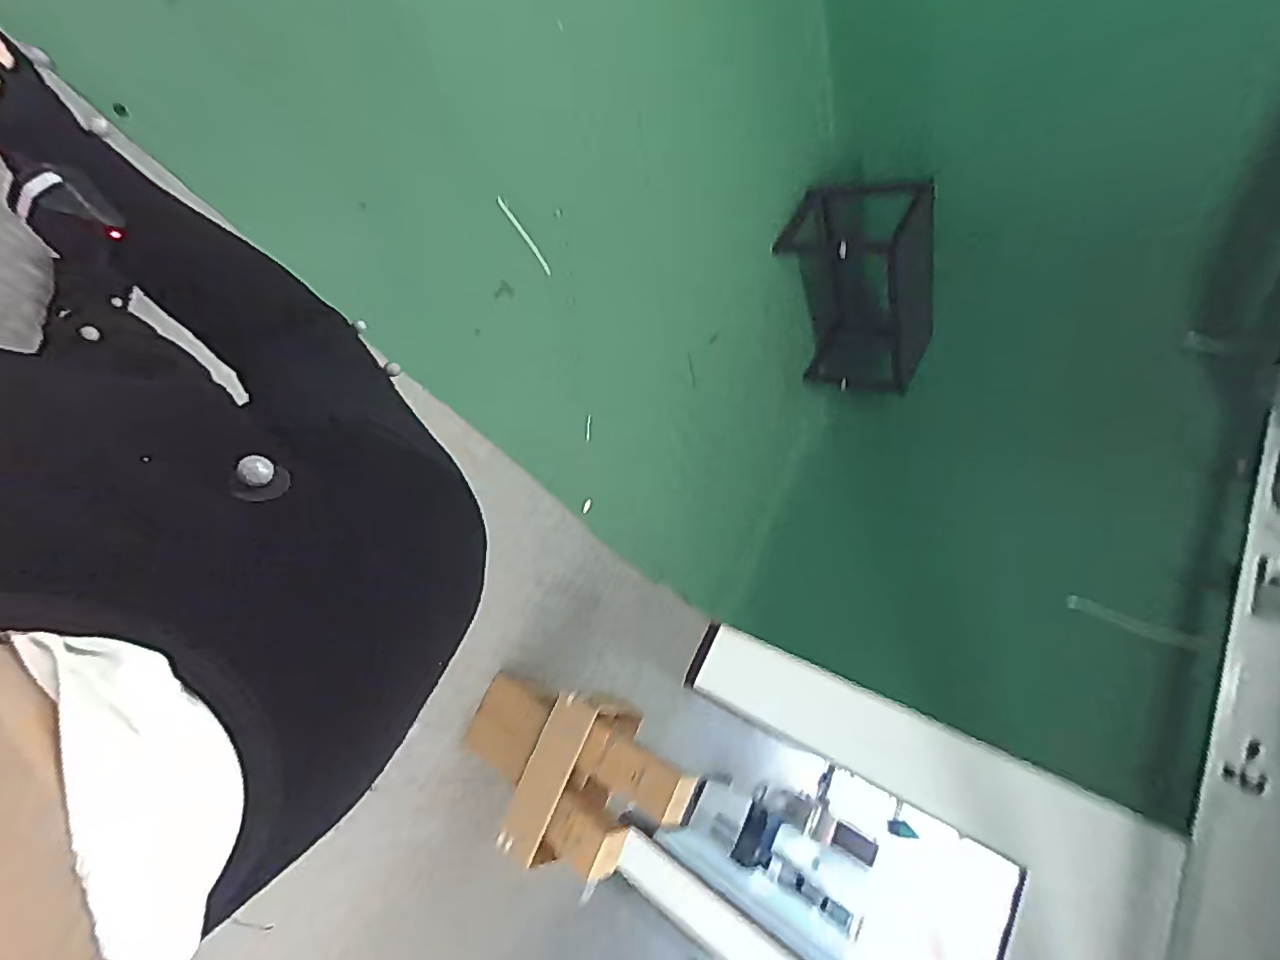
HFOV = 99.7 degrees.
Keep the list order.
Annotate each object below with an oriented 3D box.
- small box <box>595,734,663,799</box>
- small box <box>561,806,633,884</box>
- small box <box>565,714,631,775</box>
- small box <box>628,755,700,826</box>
[{"bbox_3d":[-0.043,1.101,2.079,0.168,0.176,0.179,-63,144,-14],"label":"small box"},{"bbox_3d":[-0.164,1.349,2.012,0.179,0.176,0.168,35,76,-53],"label":"small box"},{"bbox_3d":[-0.171,1.061,2.173,0.179,0.176,0.168,39,72,-53],"label":"small box"},{"bbox_3d":[0.088,1.138,1.988,0.168,0.176,0.179,-63,143,-15],"label":"small box"}]
